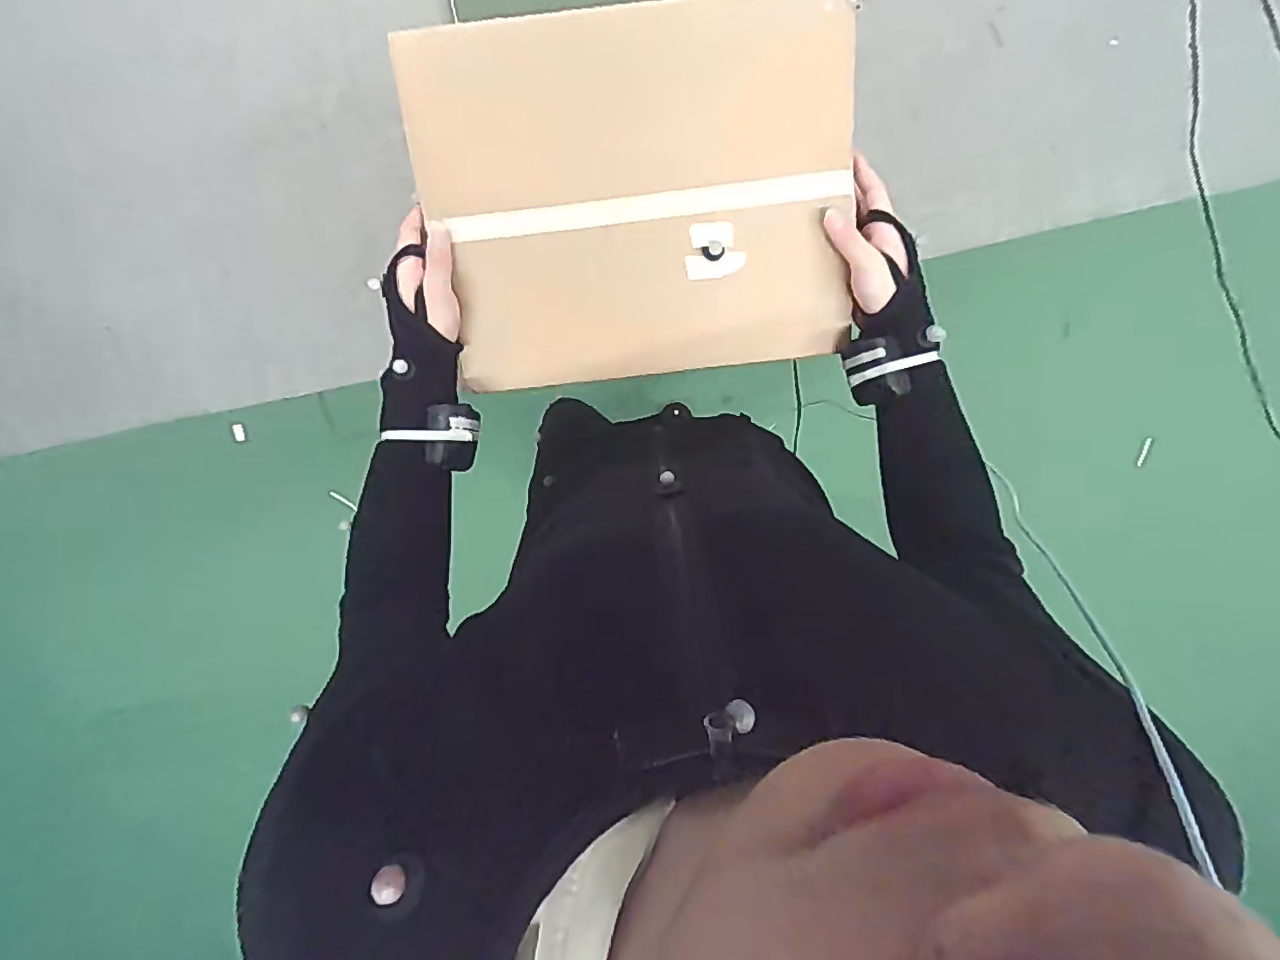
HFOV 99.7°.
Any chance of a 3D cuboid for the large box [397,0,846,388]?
[{"bbox_3d":[-0.008,-0.310,0.661,0.408,0.320,0.320,-7,108,0],"label":"large box"}]
